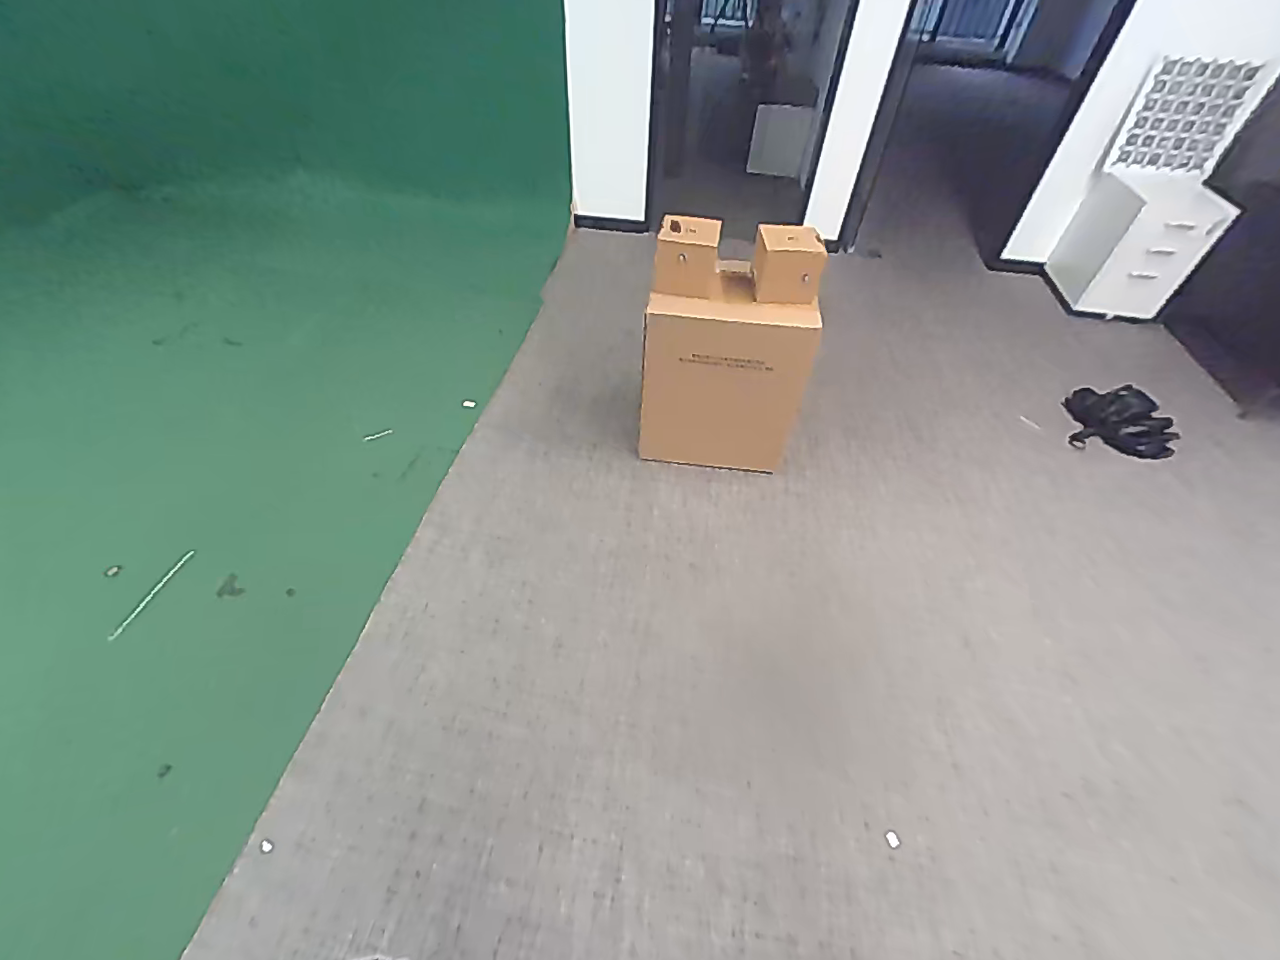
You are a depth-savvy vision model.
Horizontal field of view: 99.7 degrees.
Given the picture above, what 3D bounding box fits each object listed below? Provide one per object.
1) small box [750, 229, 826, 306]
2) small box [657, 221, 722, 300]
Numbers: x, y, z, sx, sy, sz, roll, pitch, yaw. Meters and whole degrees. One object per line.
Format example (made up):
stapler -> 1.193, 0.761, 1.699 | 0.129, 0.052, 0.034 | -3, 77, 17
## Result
small box -> 0.447, -0.651, 1.665 | 0.179, 0.176, 0.168 | 0, 48, -1
small box -> 0.150, -0.679, 1.675 | 0.179, 0.176, 0.168 | 9, 50, 5
